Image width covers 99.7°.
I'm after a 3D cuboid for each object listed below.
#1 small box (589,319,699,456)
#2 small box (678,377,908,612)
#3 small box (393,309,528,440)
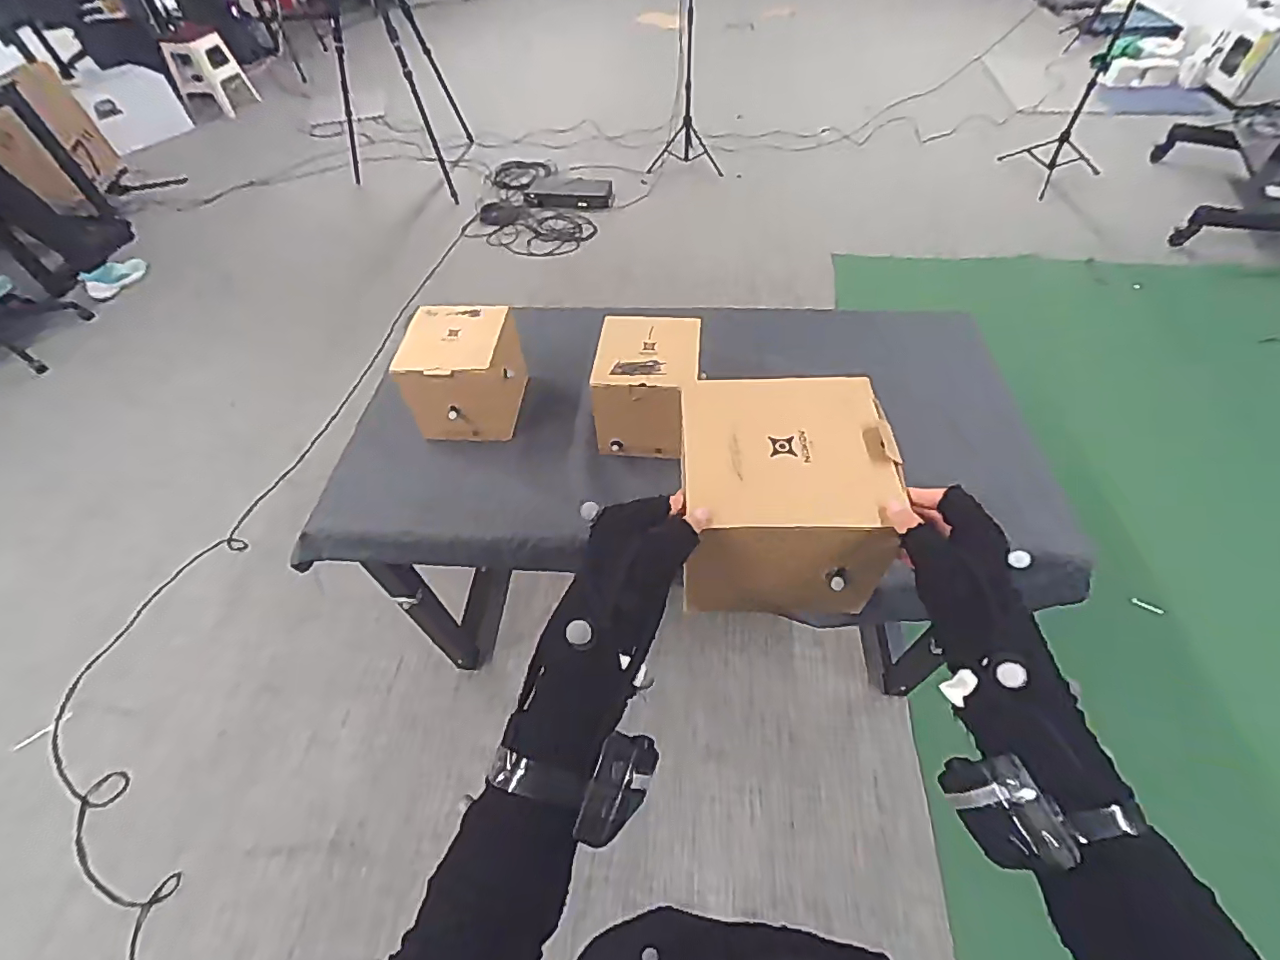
[{"bbox_3d":[0.016,-0.157,0.938,0.168,0.176,0.179,3,52,6],"label":"small box"},{"bbox_3d":[0.127,0.021,0.529,0.179,0.176,0.168,-3,53,4],"label":"small box"},{"bbox_3d":[-0.311,-0.186,0.982,0.168,0.176,0.179,1,53,4],"label":"small box"}]
